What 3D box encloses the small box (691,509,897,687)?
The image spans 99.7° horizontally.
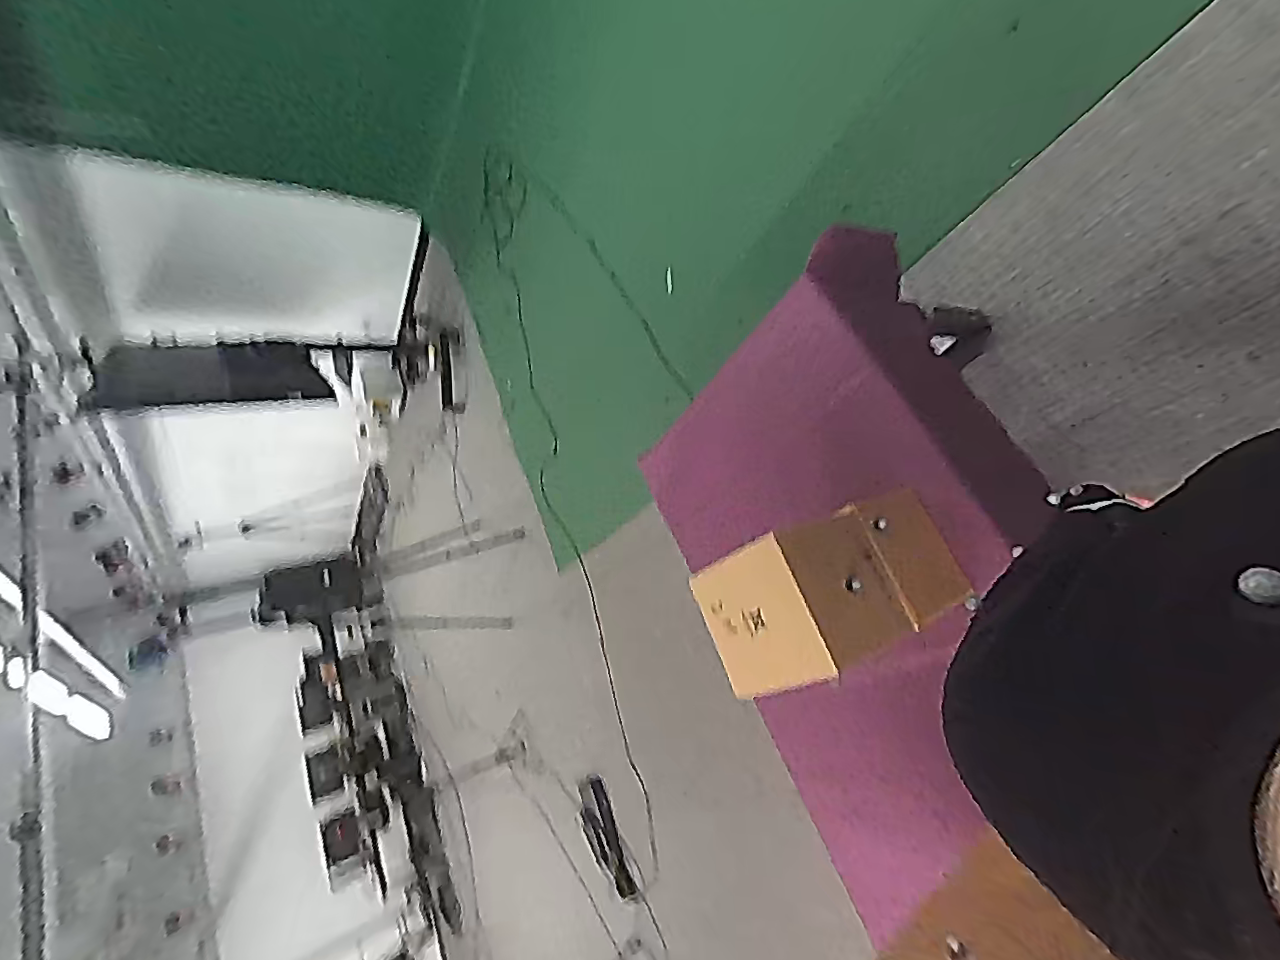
[{"bbox_3d":[0.204,0.151,0.712,0.179,0.176,0.168,-43,63,49],"label":"small box"}]

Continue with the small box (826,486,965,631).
[{"bbox_3d":[0.338,0.127,0.805,0.168,0.176,0.179,-45,61,48],"label":"small box"}]
